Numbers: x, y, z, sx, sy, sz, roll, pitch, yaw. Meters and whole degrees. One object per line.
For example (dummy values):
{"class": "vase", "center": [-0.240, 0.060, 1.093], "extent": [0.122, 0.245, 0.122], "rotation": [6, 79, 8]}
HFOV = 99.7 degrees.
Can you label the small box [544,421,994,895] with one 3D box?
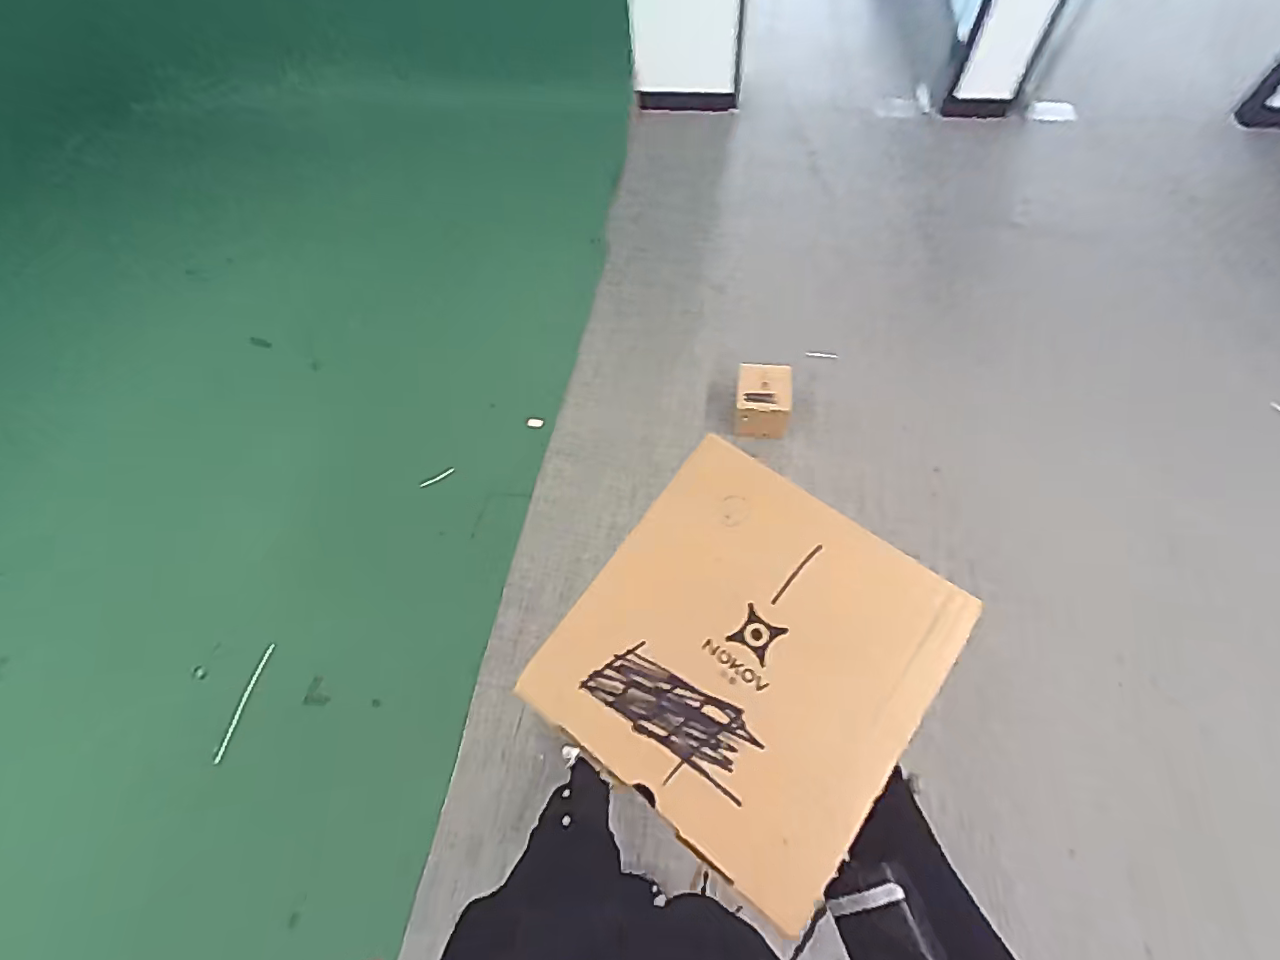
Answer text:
{"class": "small box", "center": [0.072, 0.102, 0.350], "extent": [0.168, 0.176, 0.179], "rotation": [37, 76, 17]}
